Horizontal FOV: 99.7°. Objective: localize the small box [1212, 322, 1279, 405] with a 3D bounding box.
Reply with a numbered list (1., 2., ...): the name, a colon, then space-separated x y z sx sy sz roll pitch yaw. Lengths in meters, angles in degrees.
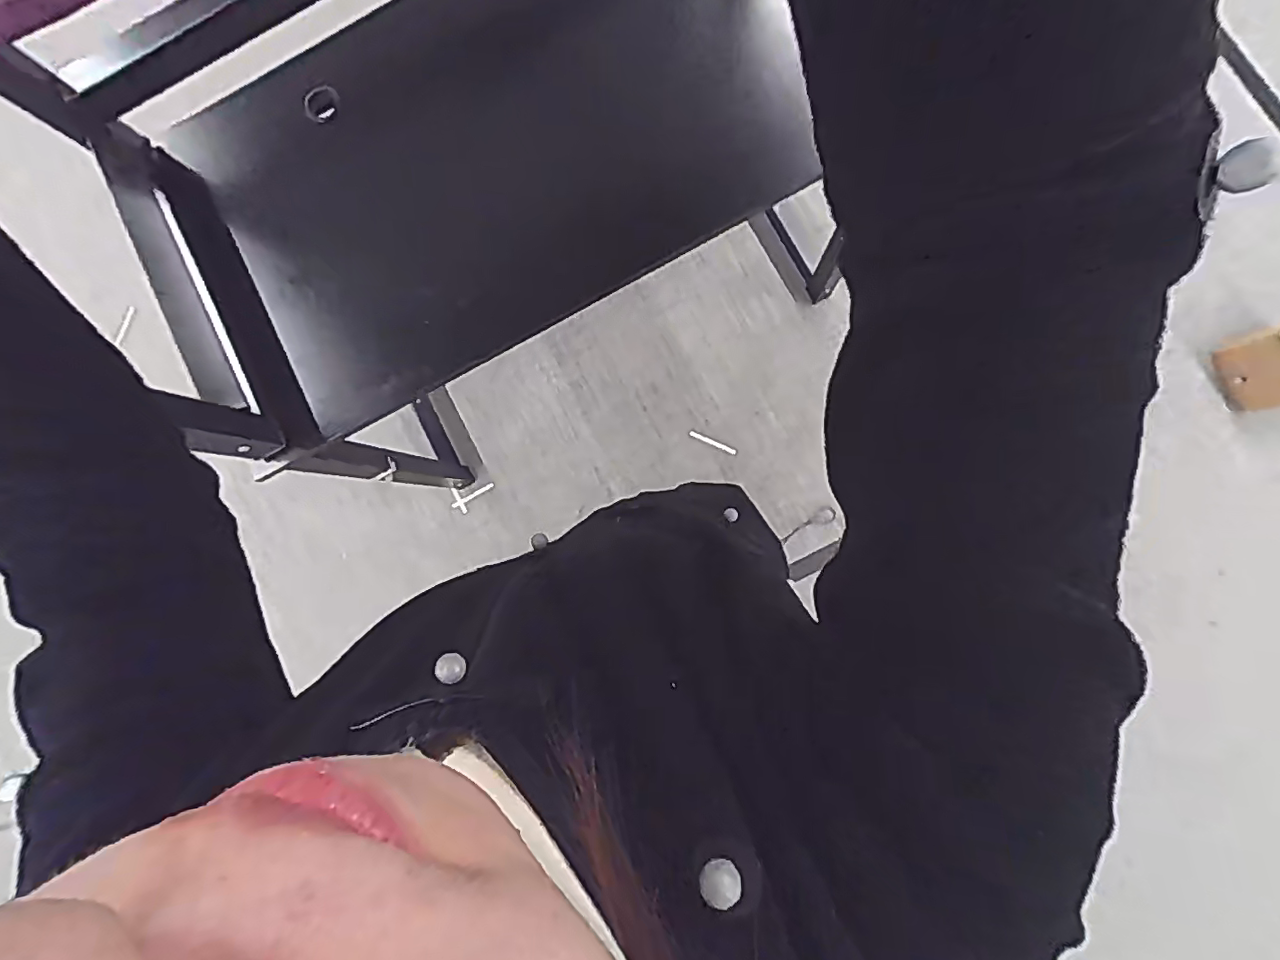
1. small box: 1.569 -0.293 1.303 0.168 0.176 0.179 -23 86 3
